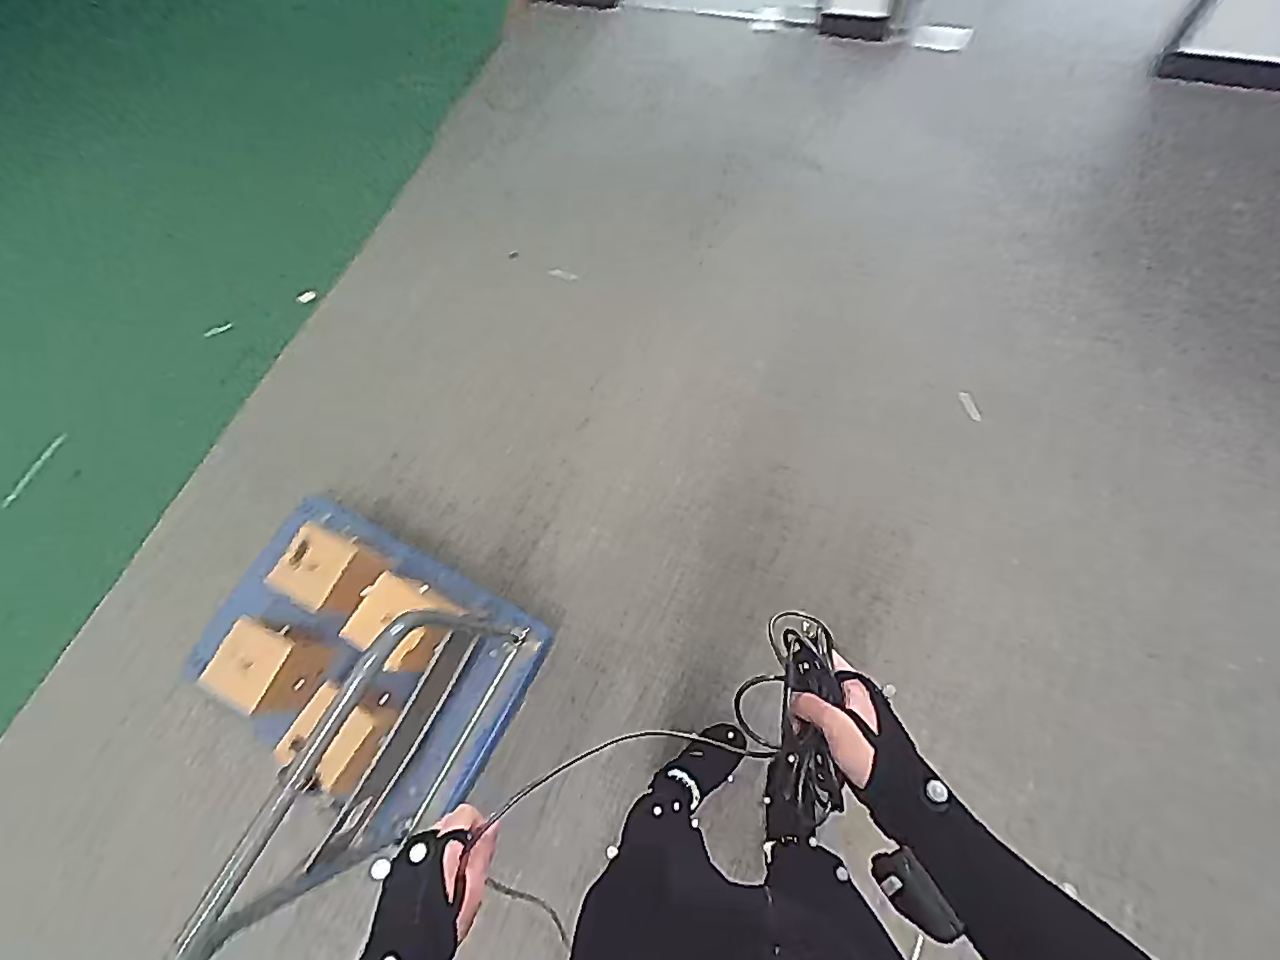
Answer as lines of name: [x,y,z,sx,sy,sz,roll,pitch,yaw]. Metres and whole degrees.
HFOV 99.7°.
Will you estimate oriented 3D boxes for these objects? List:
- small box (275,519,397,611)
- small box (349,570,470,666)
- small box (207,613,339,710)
small box: [-0.782,0.229,1.407,0.179,0.176,0.168,24,76,15]
small box: [-0.560,0.347,1.332,0.179,0.176,0.168,27,76,16]
small box: [-0.899,0.449,1.344,0.179,0.176,0.168,22,74,16]
